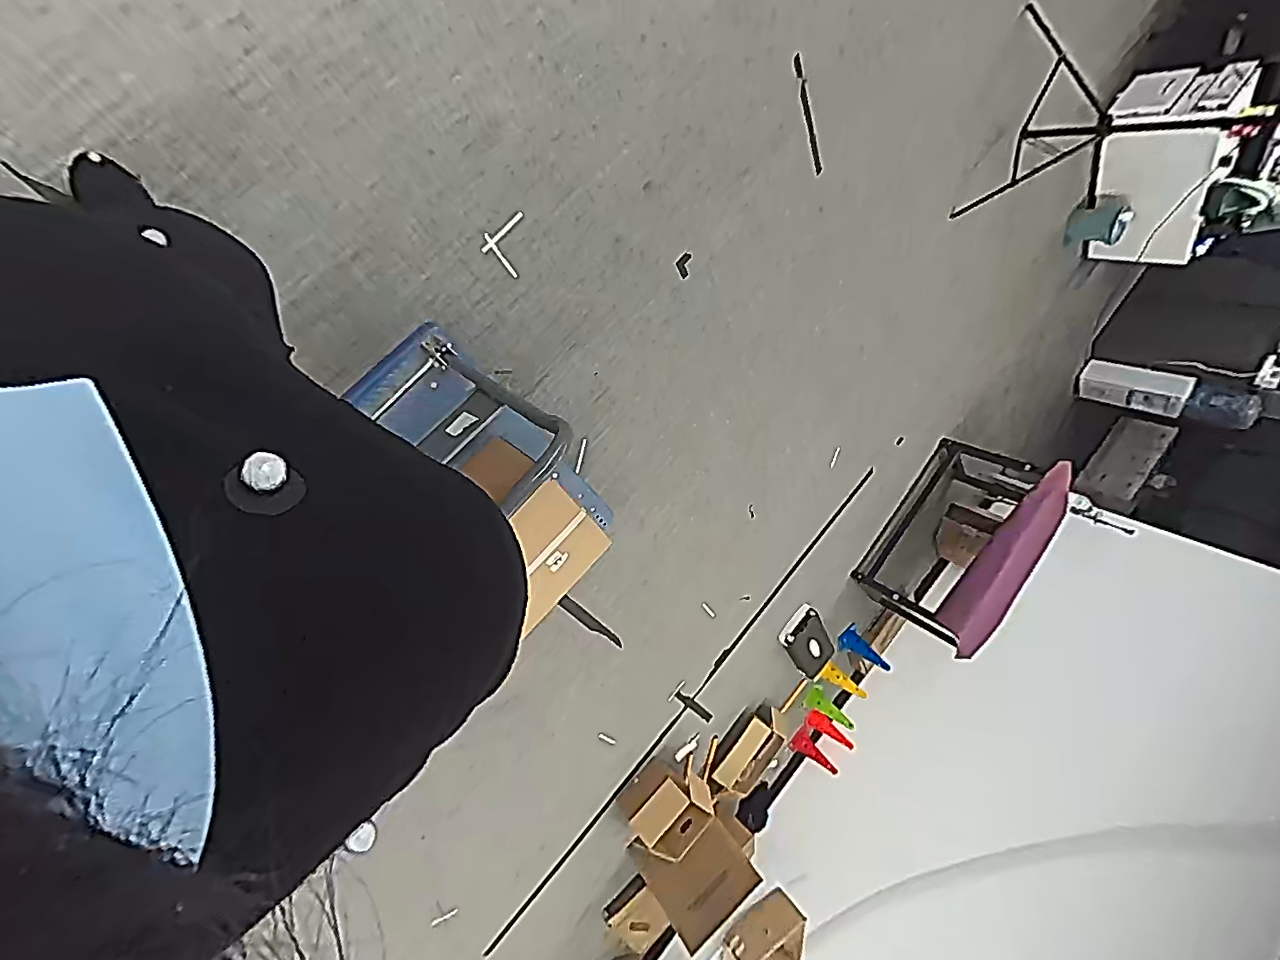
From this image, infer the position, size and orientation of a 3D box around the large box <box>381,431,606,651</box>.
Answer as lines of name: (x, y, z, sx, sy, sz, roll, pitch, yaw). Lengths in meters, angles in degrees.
large box: (-0.375, 0.148, 1.395, 0.408, 0.320, 0.320, -48, 134, -12)
